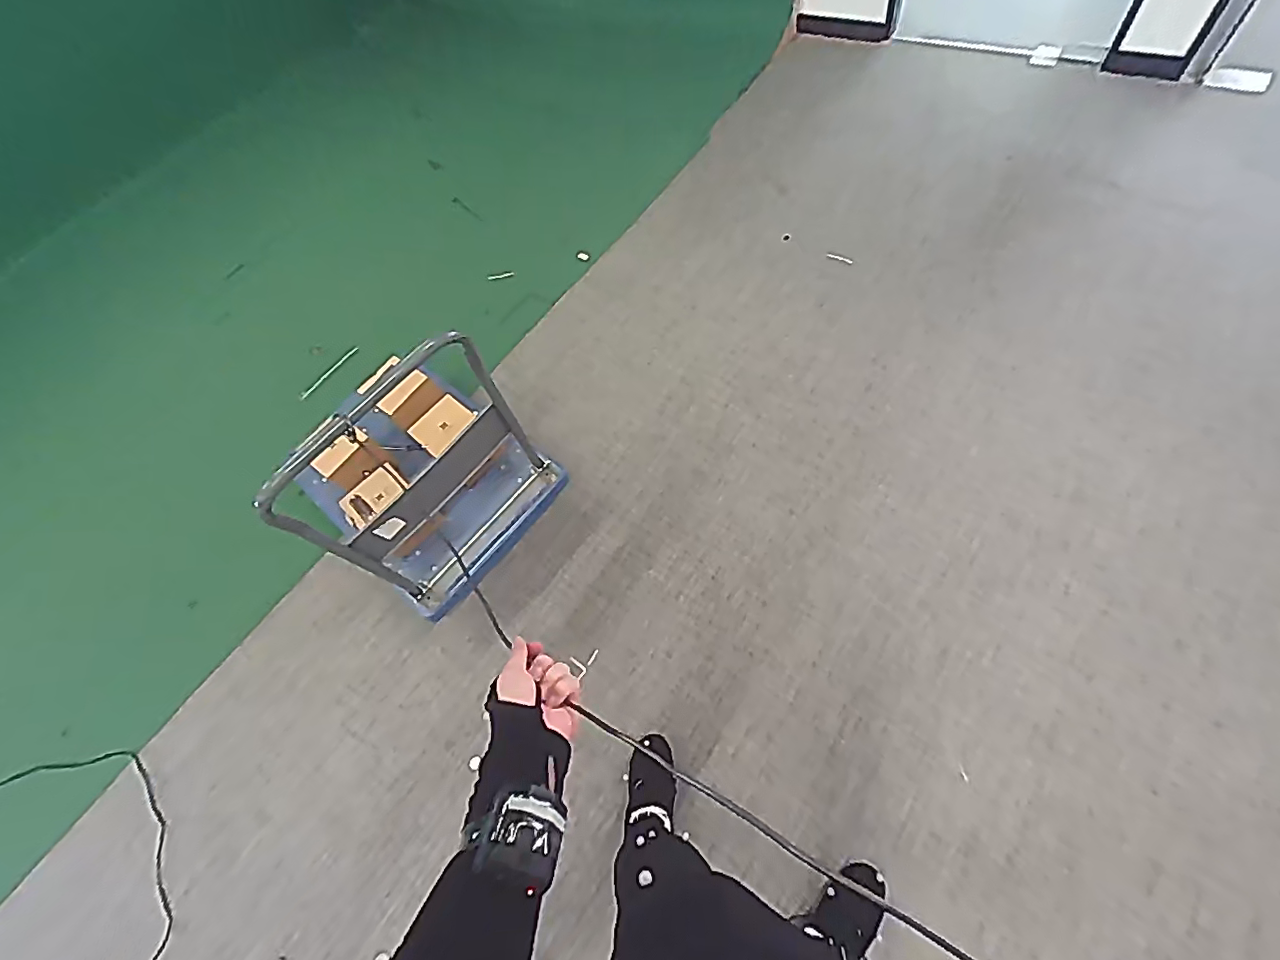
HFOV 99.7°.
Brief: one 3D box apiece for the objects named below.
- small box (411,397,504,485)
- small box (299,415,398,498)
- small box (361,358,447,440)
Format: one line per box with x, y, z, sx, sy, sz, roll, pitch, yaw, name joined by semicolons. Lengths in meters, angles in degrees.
-0.549;-0.114;1.644;0.179;0.176;0.168;36;75;24;small box
-0.899;-0.065;1.685;0.179;0.176;0.168;31;72;23;small box
-0.750;-0.256;1.754;0.179;0.176;0.168;32;73;22;small box
